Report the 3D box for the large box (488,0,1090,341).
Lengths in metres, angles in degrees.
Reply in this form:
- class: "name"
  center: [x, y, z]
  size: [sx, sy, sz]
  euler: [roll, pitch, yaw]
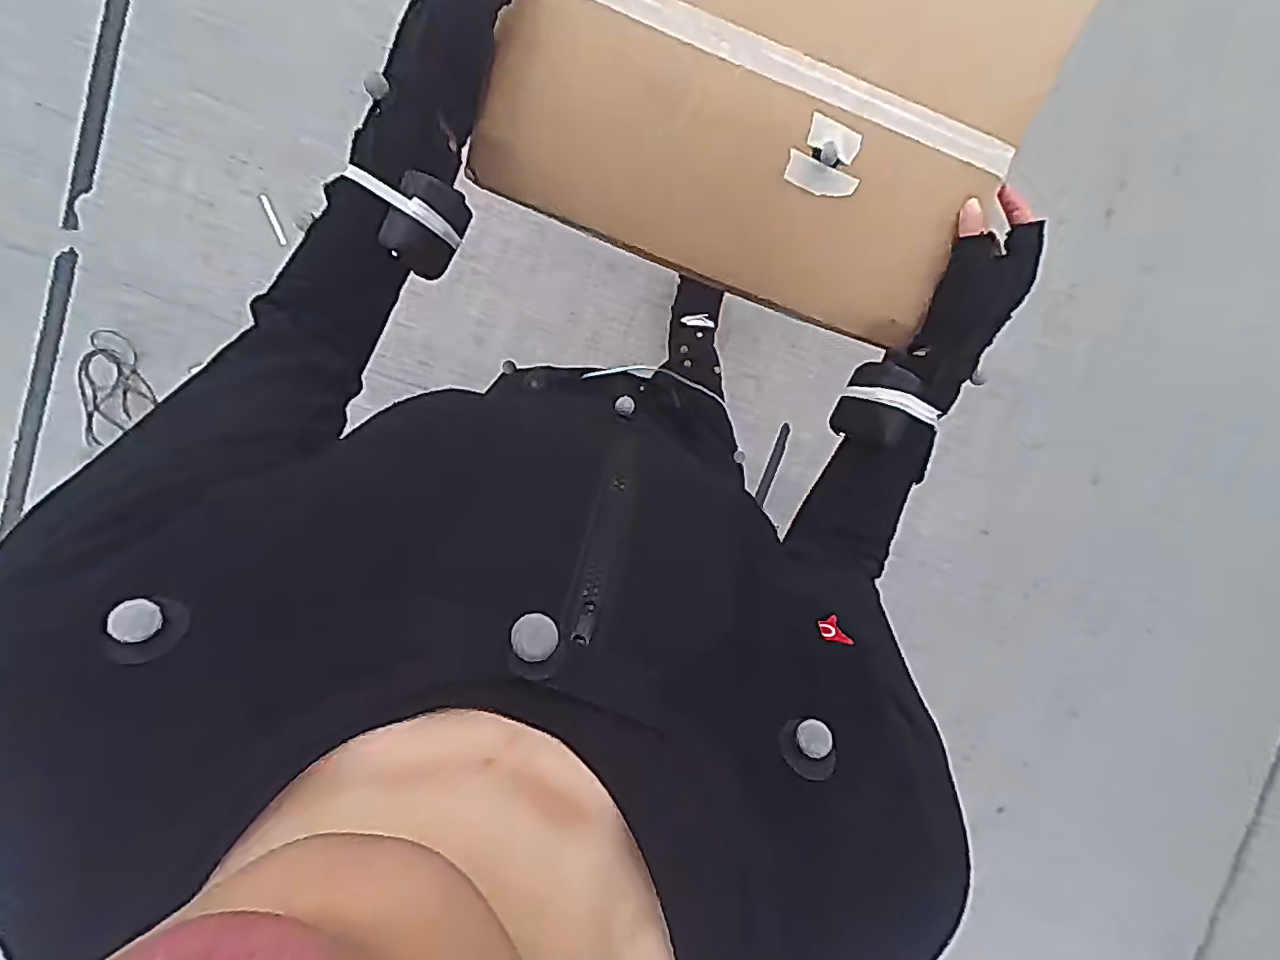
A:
- class: "large box"
  center: [0.109, -0.375, 0.557]
  size: [0.408, 0.320, 0.320]
  euler: [20, 111, -7]
